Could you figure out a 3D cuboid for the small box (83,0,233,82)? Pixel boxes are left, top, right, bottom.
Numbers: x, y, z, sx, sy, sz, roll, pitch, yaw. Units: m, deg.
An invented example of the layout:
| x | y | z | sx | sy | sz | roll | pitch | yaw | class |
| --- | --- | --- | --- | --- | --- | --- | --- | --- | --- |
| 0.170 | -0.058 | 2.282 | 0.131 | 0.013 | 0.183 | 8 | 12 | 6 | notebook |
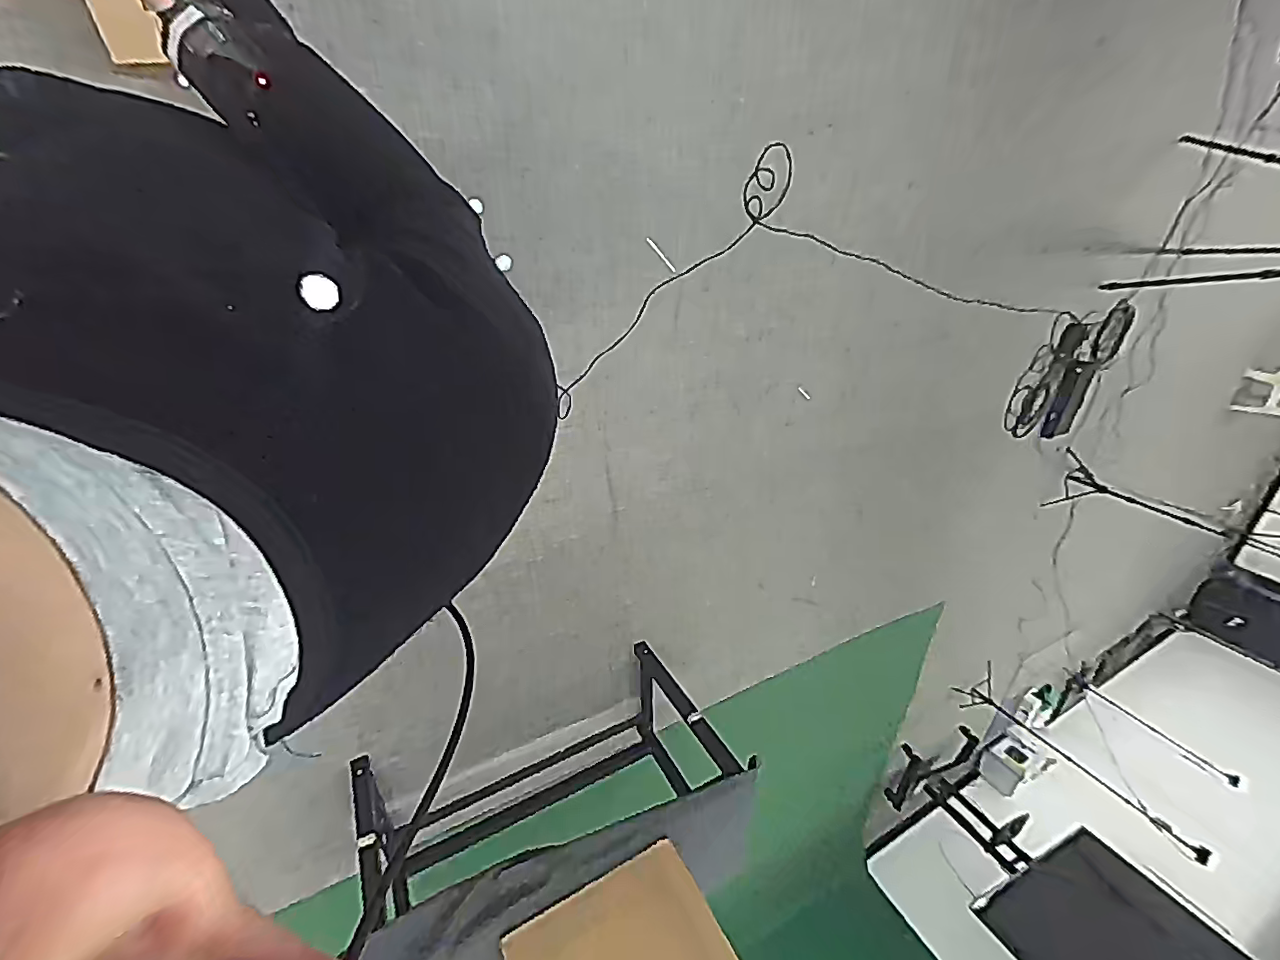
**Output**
| x | y | z | sx | sy | sz | roll | pitch | yaw | class |
| --- | --- | --- | --- | --- | --- | --- | --- | --- | --- |
| -0.842 | -0.812 | 0.938 | 0.168 | 0.176 | 0.179 | -19 | 124 | -22 | small box |
